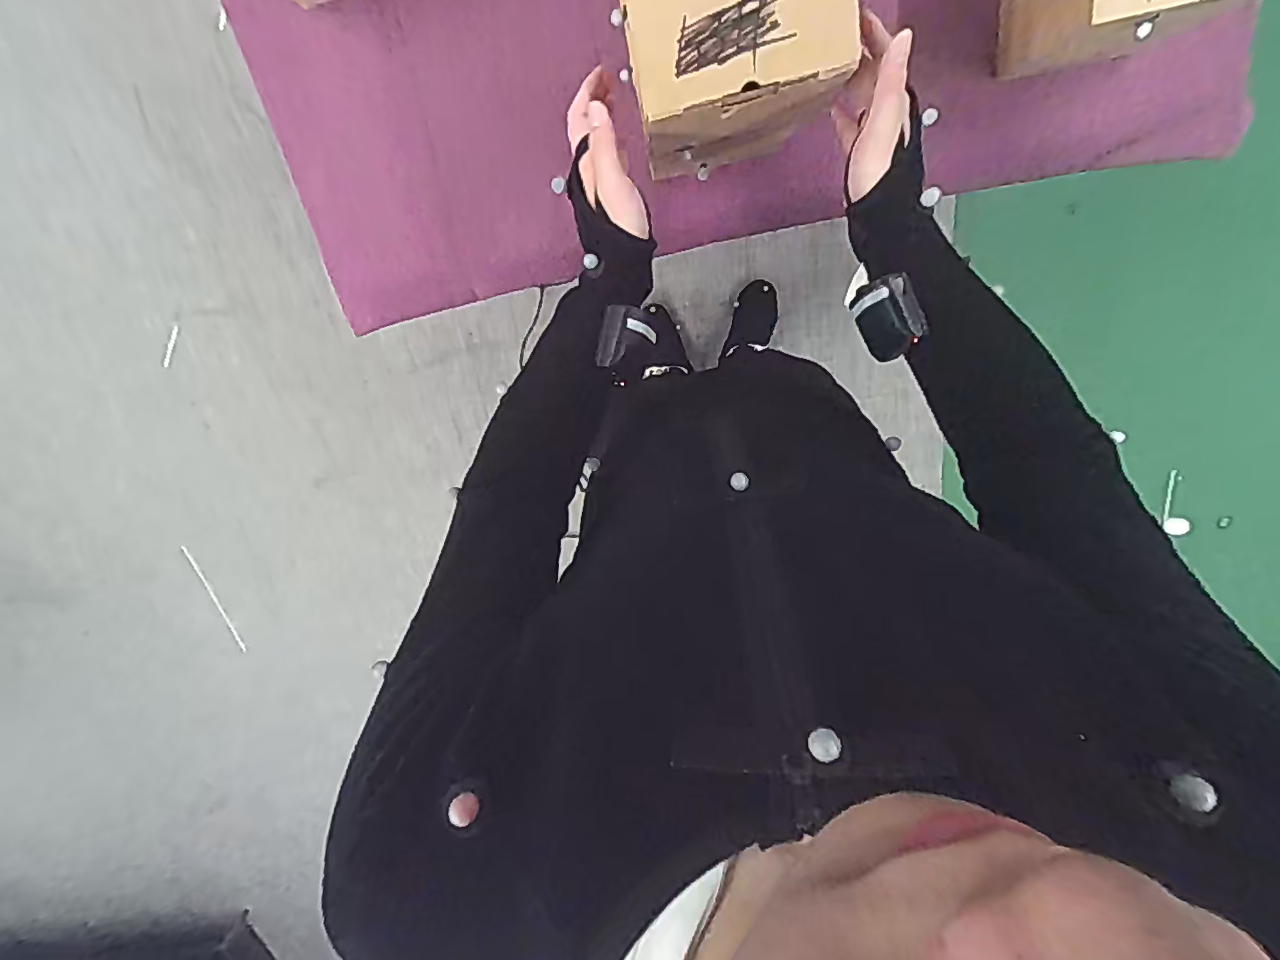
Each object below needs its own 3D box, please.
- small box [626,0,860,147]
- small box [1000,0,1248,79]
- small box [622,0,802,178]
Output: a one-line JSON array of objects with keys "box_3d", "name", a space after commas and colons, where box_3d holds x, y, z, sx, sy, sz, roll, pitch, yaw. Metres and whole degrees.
[{"box_3d": [0.073, -0.402, 0.454, 0.168, 0.176, 0.179, -10, 110, 7], "name": "small box"}, {"box_3d": [0.498, -0.550, 0.548, 0.168, 0.176, 0.179, -7, 110, 7], "name": "small box"}, {"box_3d": [0.075, -0.463, 0.607, 0.168, 0.176, 0.179, -10, 112, 7], "name": "small box"}]
